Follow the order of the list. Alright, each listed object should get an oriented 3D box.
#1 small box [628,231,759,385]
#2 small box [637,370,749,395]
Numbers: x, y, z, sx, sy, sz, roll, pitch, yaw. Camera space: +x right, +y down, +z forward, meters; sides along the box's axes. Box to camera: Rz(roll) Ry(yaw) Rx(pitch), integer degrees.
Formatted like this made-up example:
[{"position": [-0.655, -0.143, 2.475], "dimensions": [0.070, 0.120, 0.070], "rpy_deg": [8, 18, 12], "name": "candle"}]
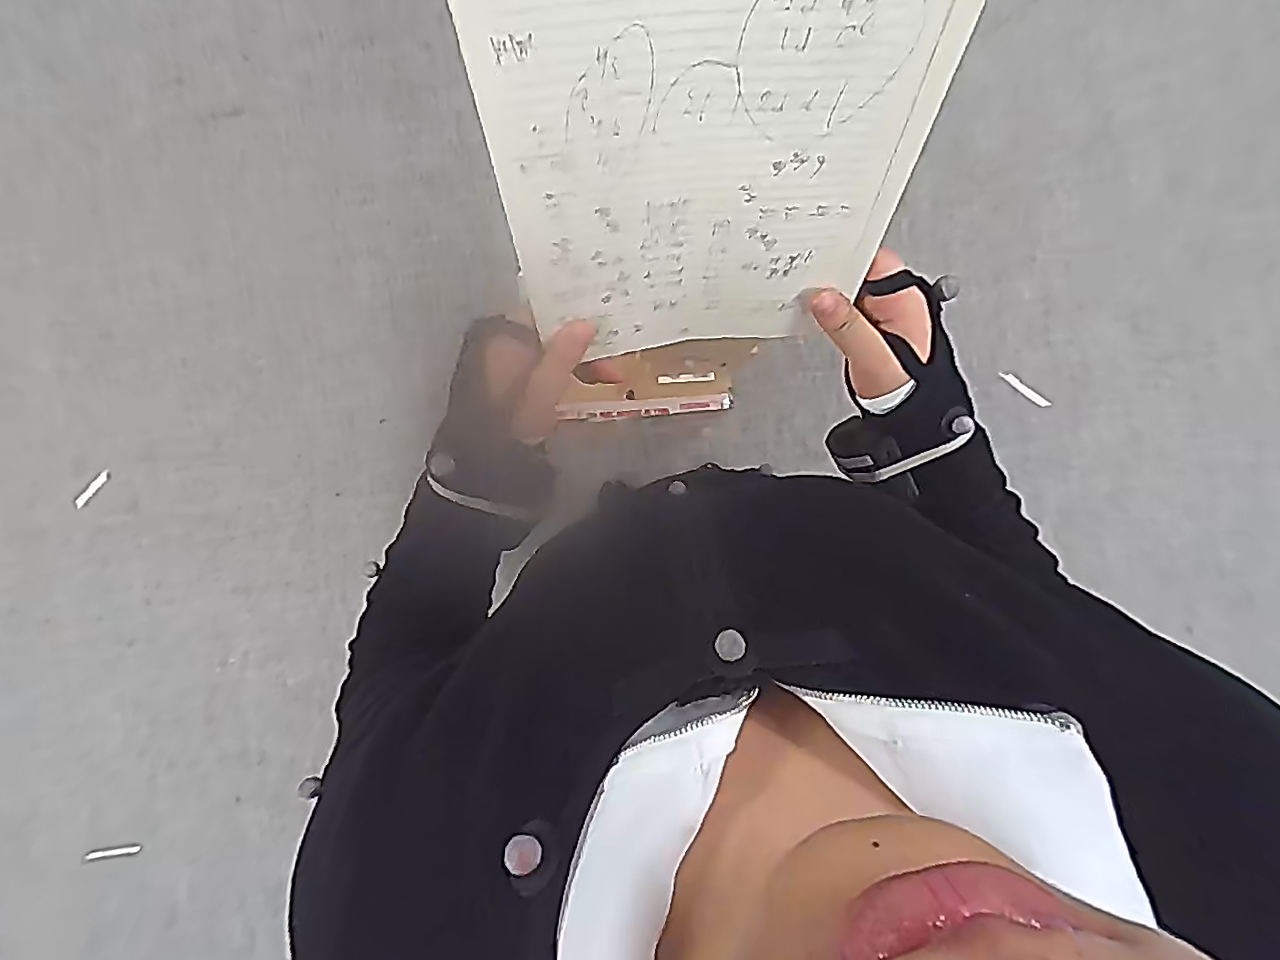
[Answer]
[{"position": [0.069, -0.240, 0.787], "dimensions": [0.168, 0.176, 0.179], "rpy_deg": [-2, 92, -3], "name": "small box"}, {"position": [0.081, -0.247, 0.952], "dimensions": [0.179, 0.176, 0.168], "rpy_deg": [-6, 91, -2], "name": "small box"}]
